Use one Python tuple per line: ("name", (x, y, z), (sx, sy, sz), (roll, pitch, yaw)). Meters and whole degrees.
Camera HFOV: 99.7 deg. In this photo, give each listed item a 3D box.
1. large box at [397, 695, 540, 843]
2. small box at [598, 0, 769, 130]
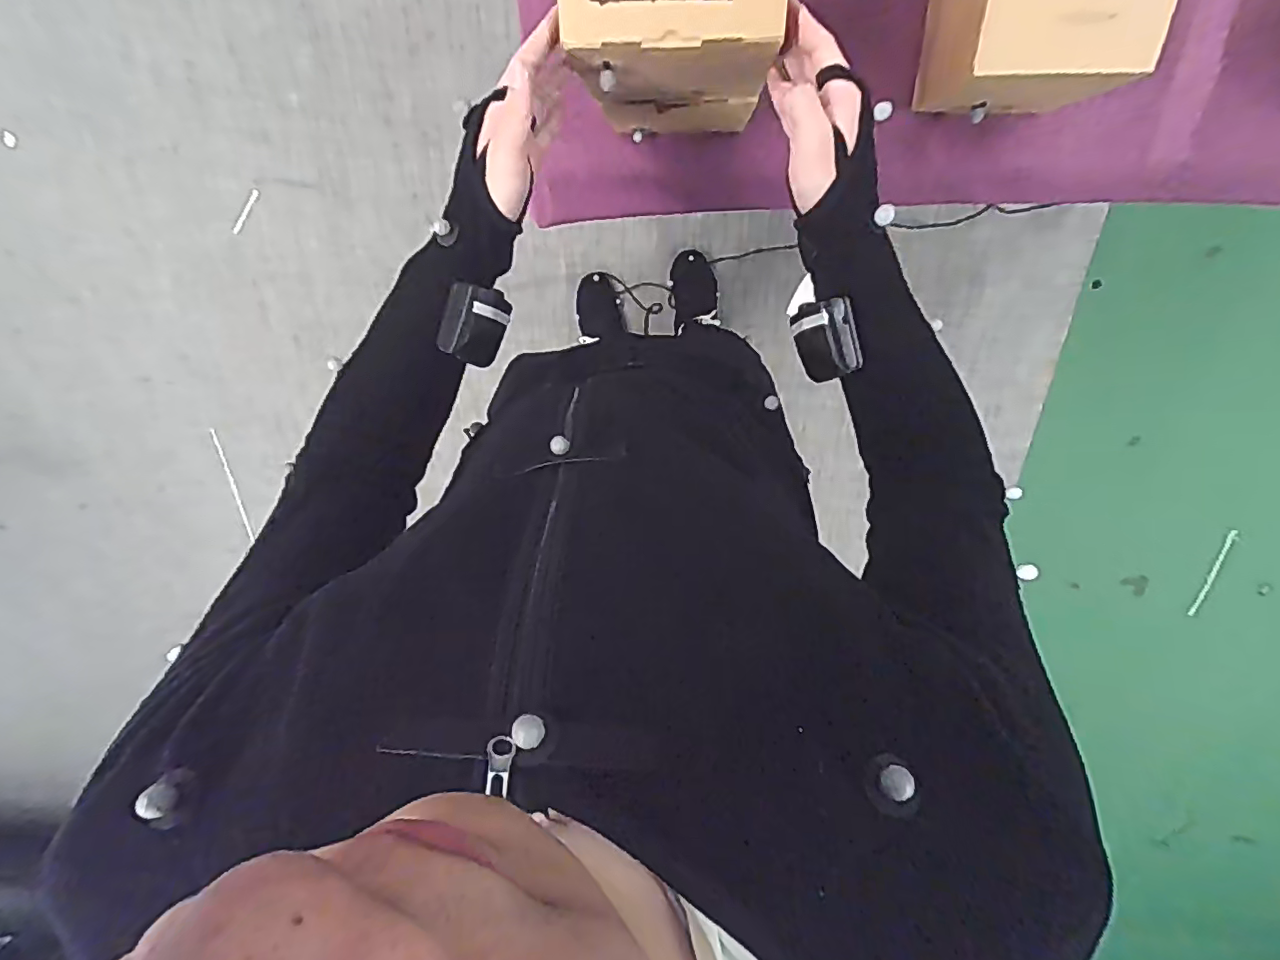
("large box", (-0.649, 1.101, 2.080), (0.408, 0.320, 0.320), (23, 114, -7))
("small box", (0.047, -0.491, 0.583), (0.168, 0.176, 0.179), (1, 113, 3))
